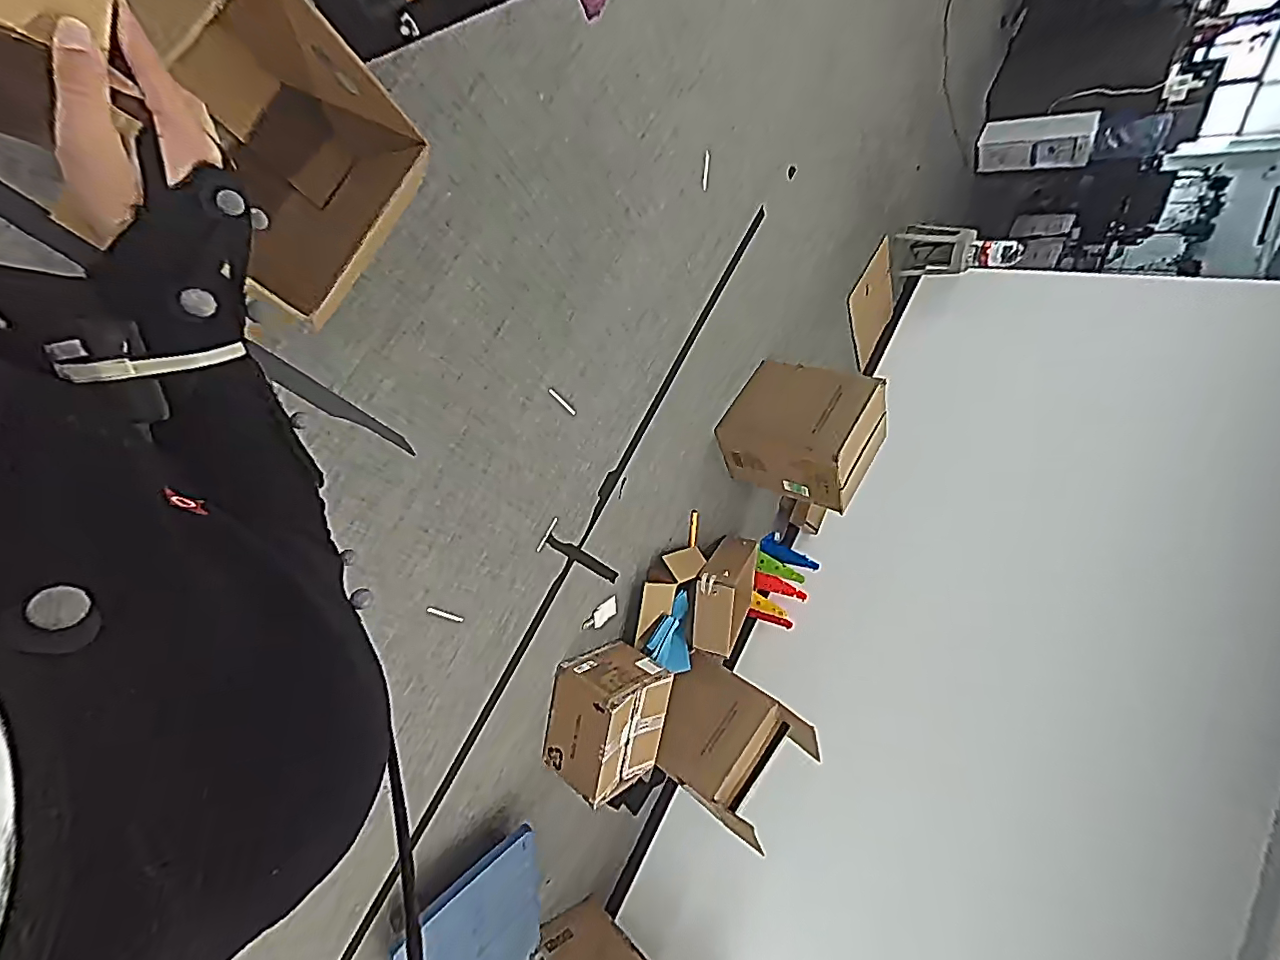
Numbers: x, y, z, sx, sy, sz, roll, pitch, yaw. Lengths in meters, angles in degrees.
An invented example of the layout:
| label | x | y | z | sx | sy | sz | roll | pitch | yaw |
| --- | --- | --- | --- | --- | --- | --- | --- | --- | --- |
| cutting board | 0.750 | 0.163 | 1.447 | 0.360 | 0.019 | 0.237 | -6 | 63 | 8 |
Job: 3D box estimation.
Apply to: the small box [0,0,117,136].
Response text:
| label | x | y | z | sx | sy | sz | roll | pitch | yaw |
| --- | --- | --- | --- | --- | --- | --- | --- | --- | --- |
| small box | -0.367 | -0.304 | 0.248 | 0.168 | 0.176 | 0.179 | 3 | 95 | -54 |
